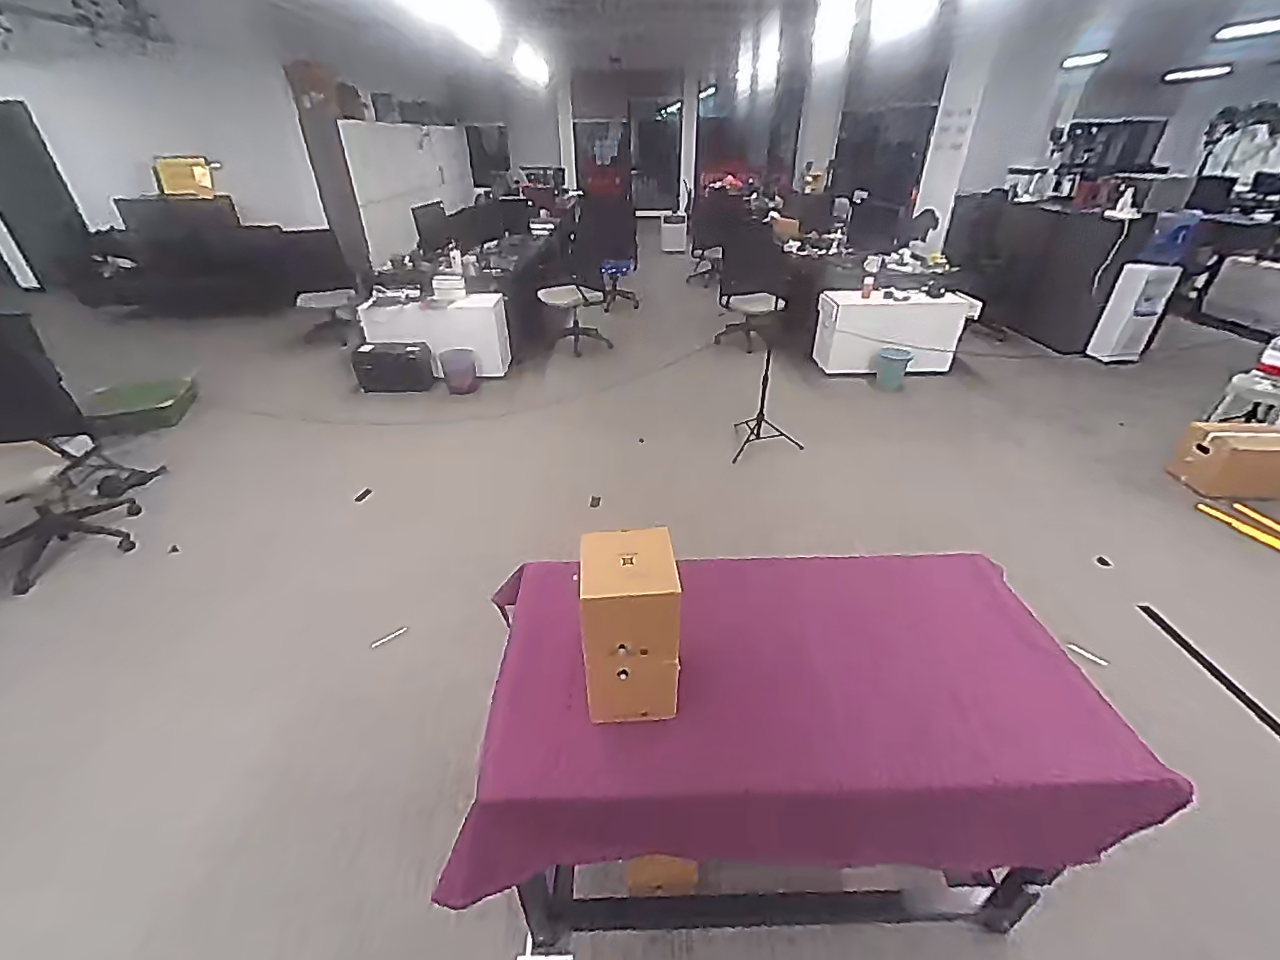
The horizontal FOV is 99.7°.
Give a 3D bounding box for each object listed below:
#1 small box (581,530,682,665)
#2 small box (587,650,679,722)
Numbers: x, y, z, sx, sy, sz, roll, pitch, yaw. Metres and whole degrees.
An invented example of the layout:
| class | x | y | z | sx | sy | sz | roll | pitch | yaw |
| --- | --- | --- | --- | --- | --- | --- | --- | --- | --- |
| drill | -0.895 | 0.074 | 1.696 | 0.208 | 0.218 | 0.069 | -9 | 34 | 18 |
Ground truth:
| class | x | y | z | sx | sy | sz | roll | pitch | yaw |
| --- | --- | --- | --- | --- | --- | --- | --- | --- | --- |
| small box | -0.020 | 0.209 | 0.980 | 0.168 | 0.176 | 0.179 | -2 | 32 | -4 |
| small box | -0.016 | 0.349 | 1.066 | 0.168 | 0.176 | 0.179 | -1 | 32 | -2 |
